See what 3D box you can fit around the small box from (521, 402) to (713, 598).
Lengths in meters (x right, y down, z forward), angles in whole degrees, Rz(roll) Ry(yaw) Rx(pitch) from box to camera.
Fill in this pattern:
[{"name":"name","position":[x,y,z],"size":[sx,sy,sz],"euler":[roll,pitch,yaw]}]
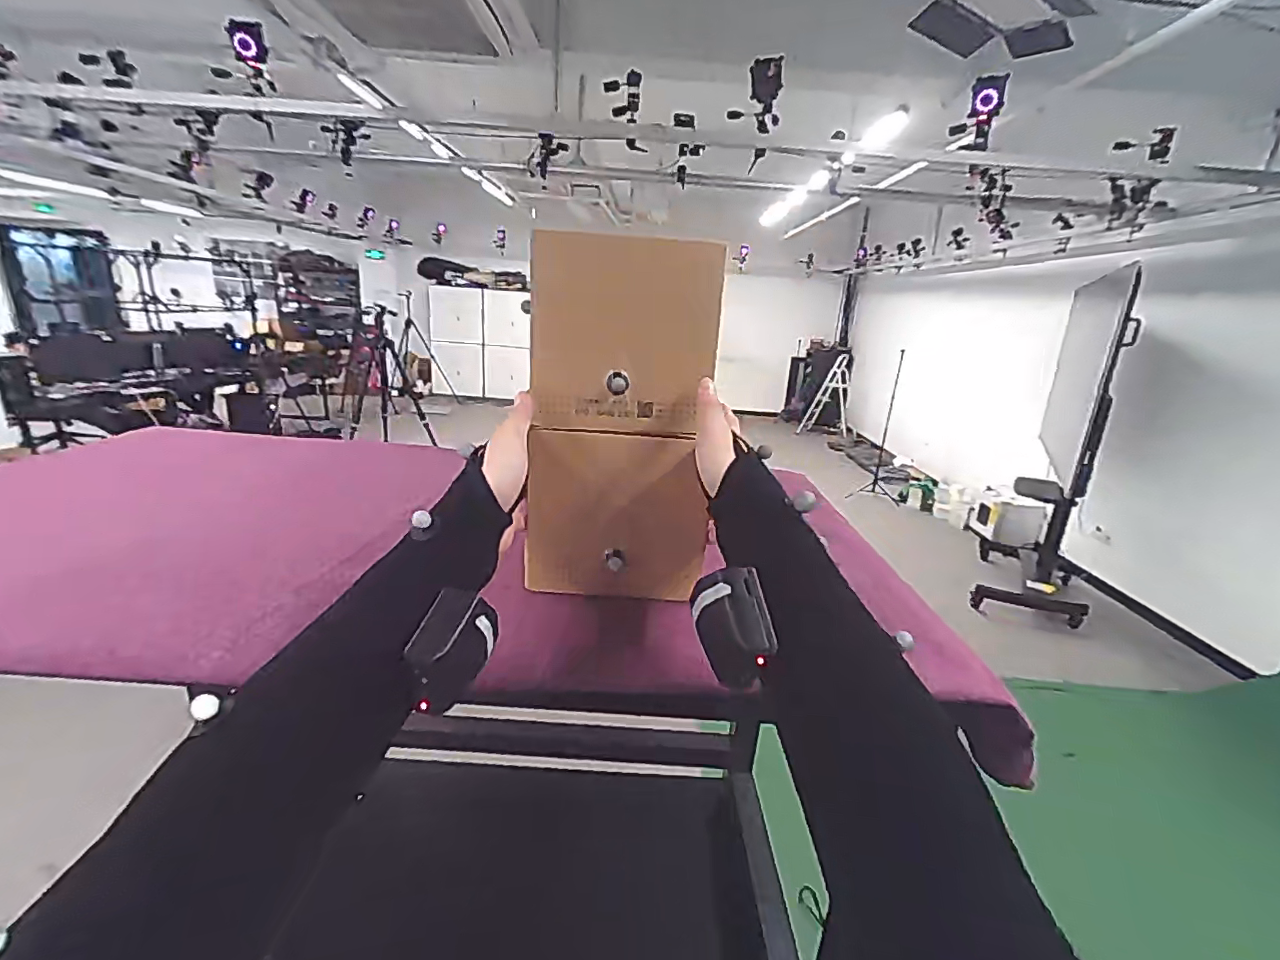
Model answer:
[{"name":"small box","position":[-0.025,0.015,0.587],"size":[0.179,0.176,0.168],"euler":[4,15,-1]}]
